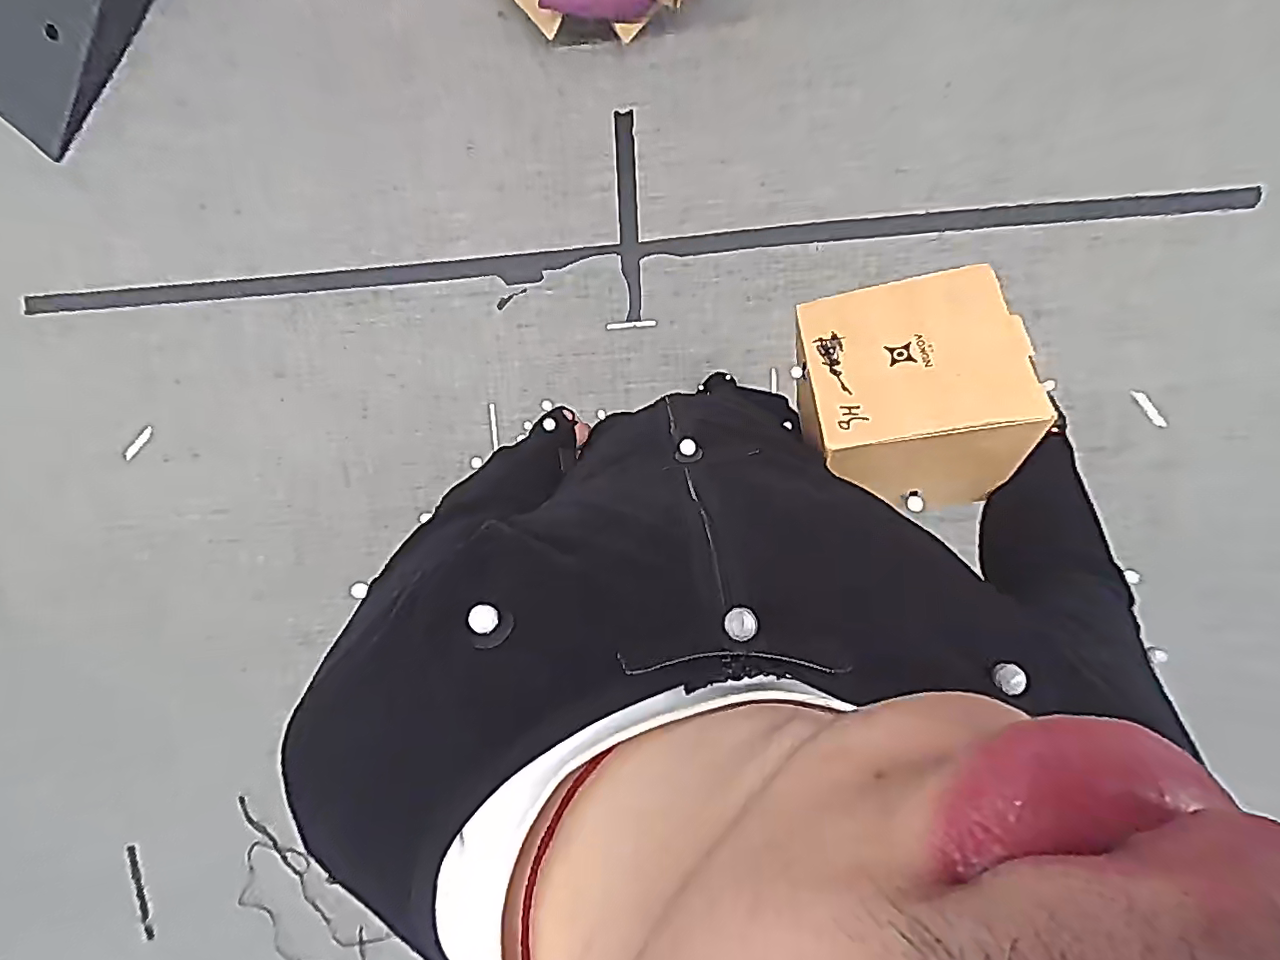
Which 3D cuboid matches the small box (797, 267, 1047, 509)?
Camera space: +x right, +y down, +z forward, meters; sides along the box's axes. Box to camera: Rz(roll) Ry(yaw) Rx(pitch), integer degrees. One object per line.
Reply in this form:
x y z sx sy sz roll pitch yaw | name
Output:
0.264 -0.082 0.559 0.179 0.176 0.168 -9 62 12 | small box
